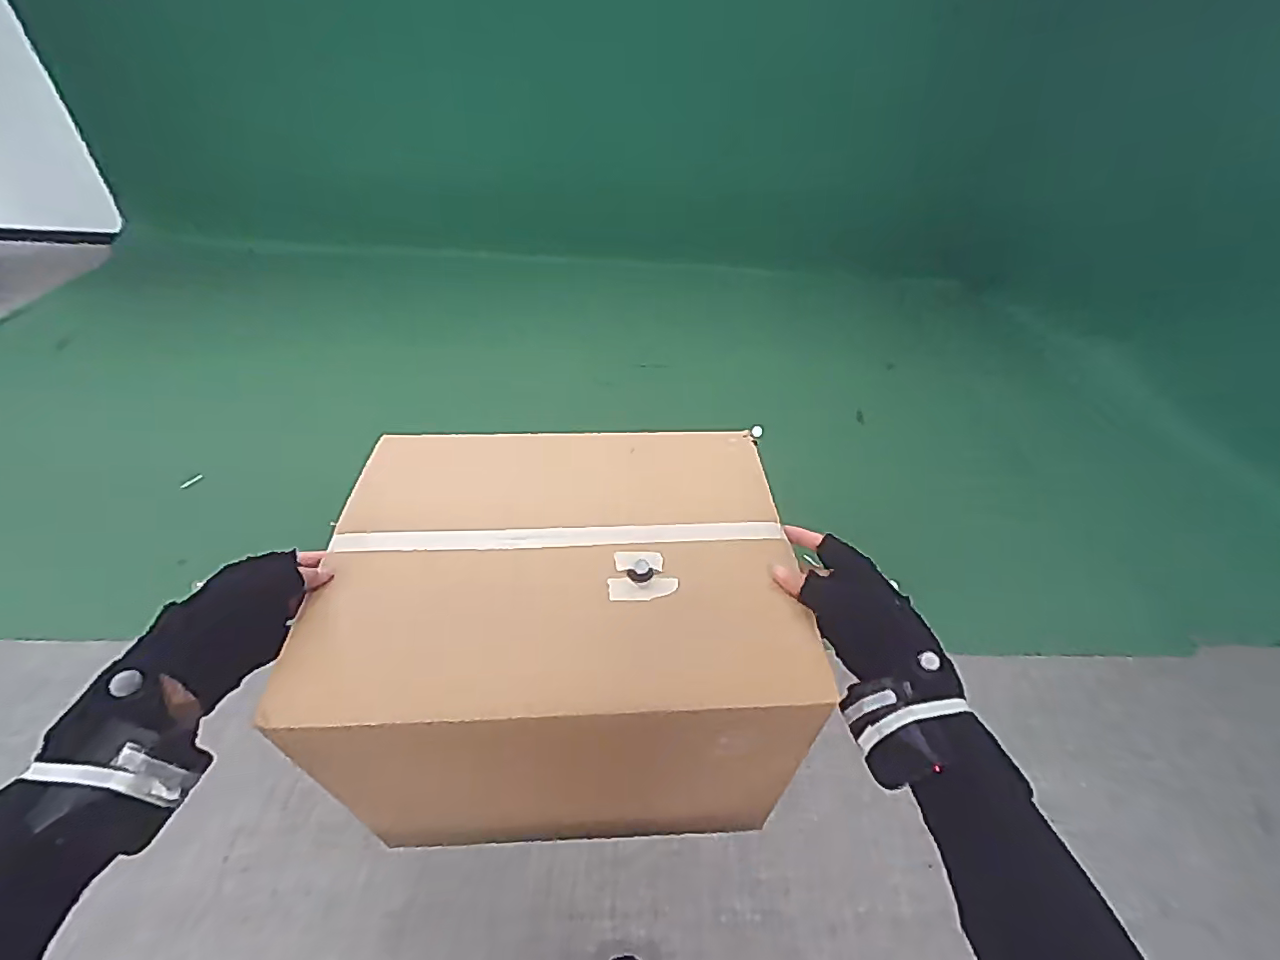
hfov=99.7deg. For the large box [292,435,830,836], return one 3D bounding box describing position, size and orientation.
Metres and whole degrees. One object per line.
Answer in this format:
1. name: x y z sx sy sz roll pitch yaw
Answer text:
1. large box: -0.066 0.166 0.603 0.408 0.320 0.320 -1 44 -3
